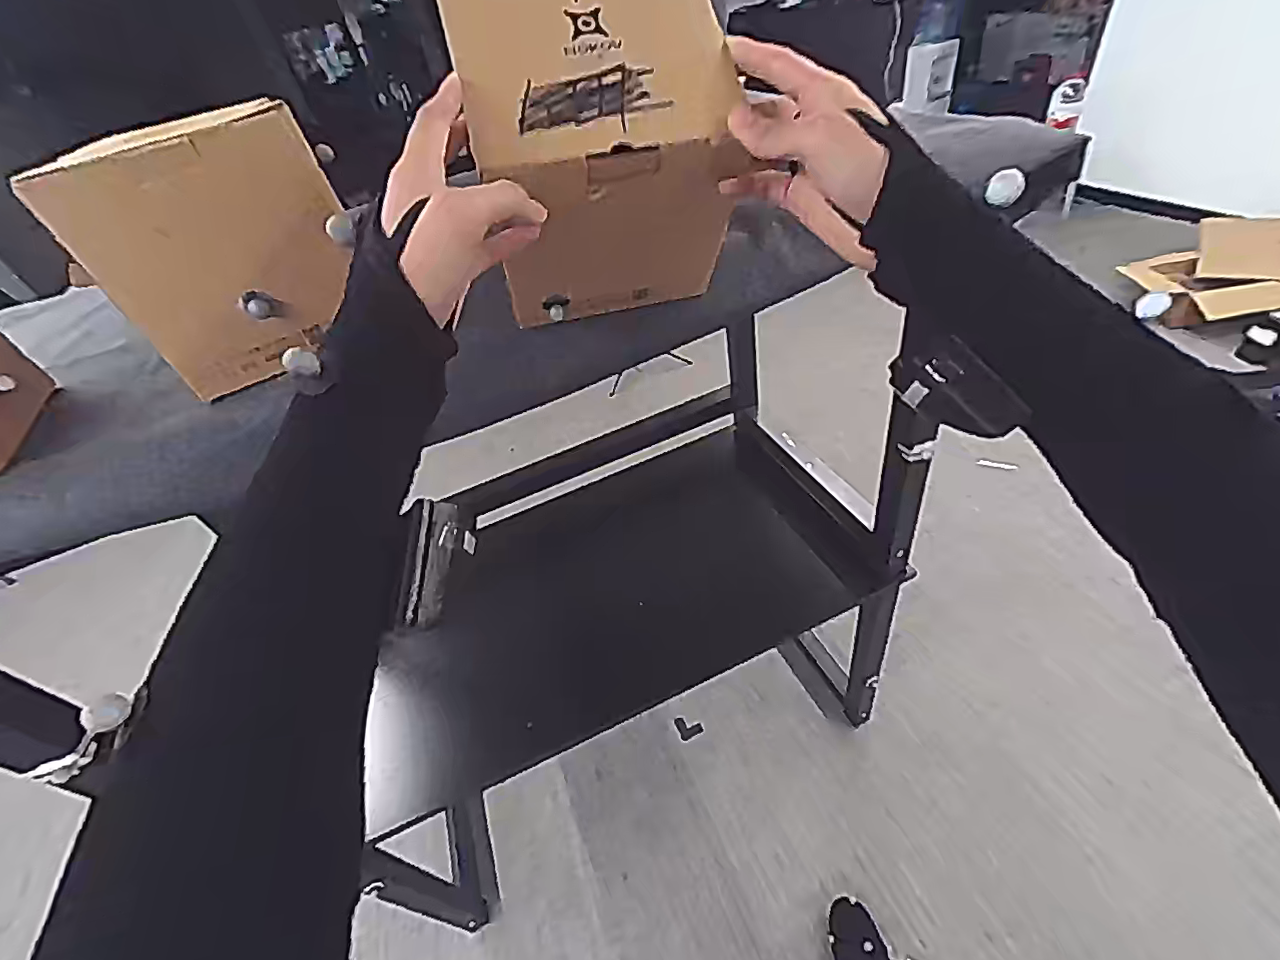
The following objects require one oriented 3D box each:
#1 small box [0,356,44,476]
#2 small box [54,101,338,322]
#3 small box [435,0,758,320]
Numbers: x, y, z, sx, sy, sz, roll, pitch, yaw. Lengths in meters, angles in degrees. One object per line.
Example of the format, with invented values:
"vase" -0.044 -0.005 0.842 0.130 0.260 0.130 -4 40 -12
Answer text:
"small box" -0.615 -0.057 0.395 0.168 0.176 0.179 -28 44 -14
"small box" -0.470 -0.299 0.612 0.168 0.176 0.179 -21 44 -8
"small box" -0.035 -0.237 0.394 0.168 0.176 0.179 -14 75 -8
